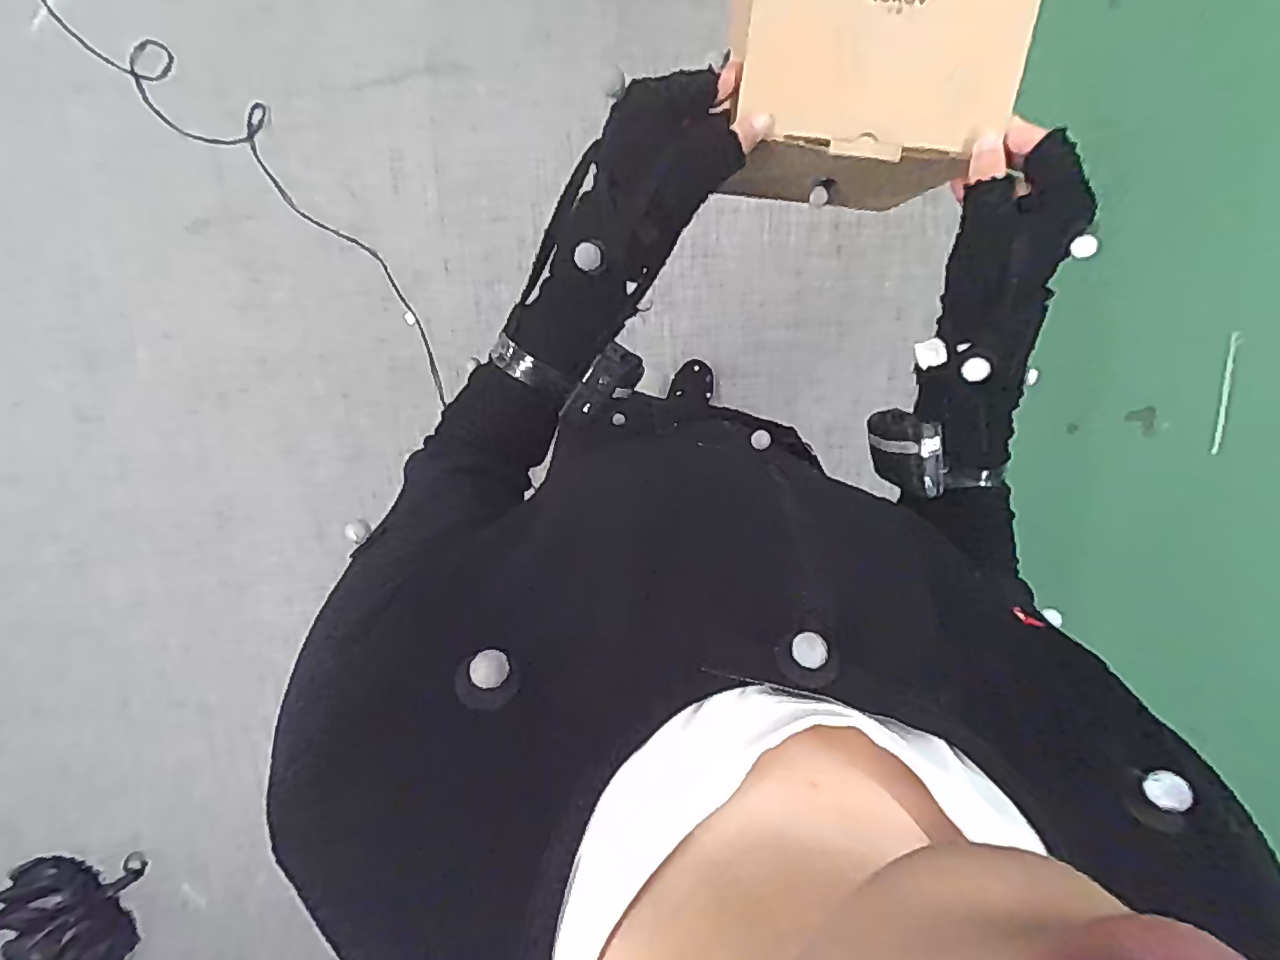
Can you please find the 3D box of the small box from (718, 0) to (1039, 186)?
[{"bbox_3d":[0.153,-0.323,0.385,0.168,0.176,0.179,5,109,-1],"label":"small box"}]
